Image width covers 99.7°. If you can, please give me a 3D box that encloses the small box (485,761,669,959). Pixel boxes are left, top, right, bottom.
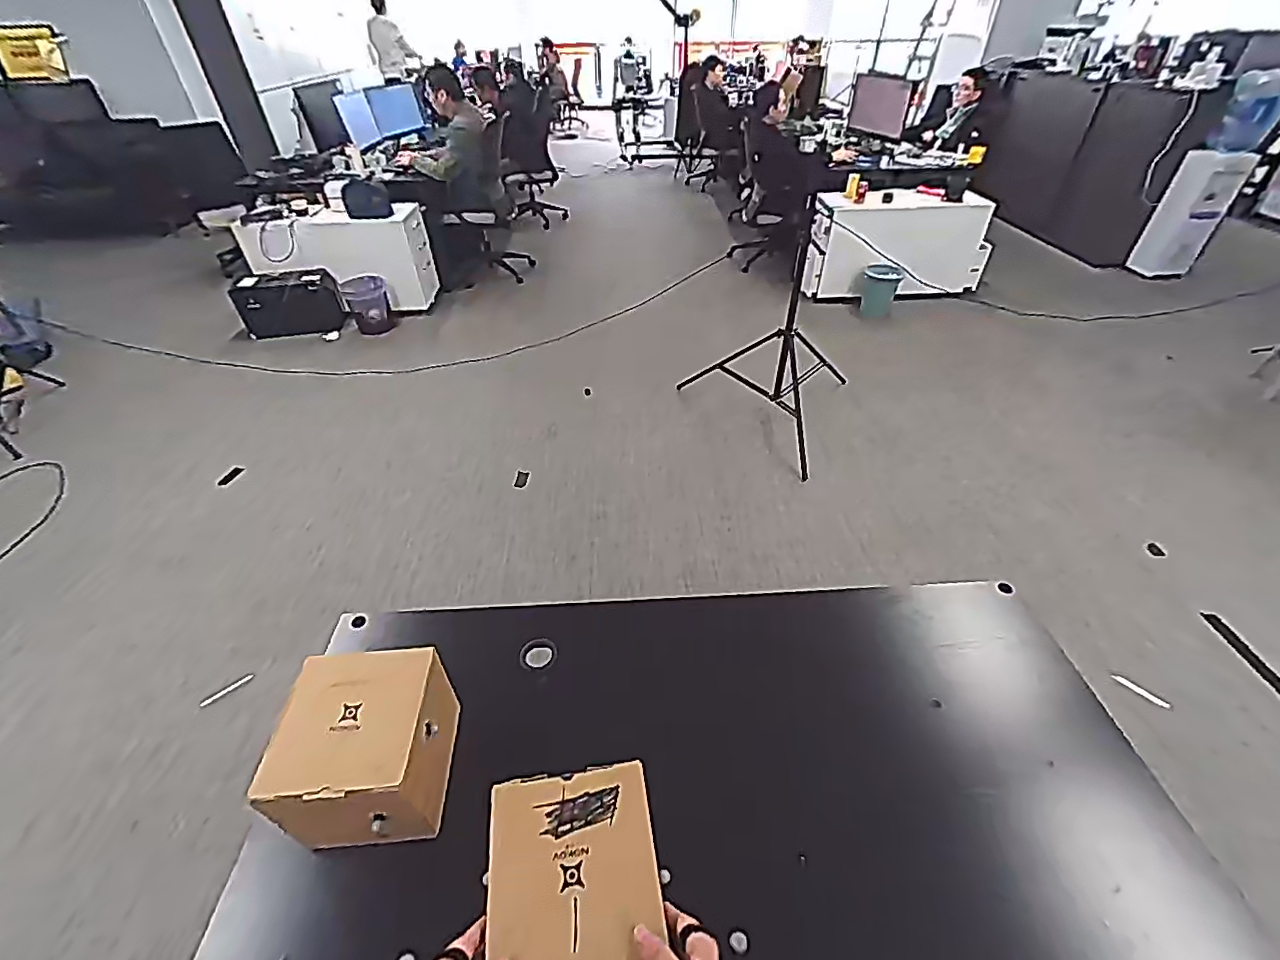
[{"bbox_3d":[-0.067,0.440,0.588,0.168,0.176,0.179,-7,41,-6],"label":"small box"}]

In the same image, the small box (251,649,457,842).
[{"bbox_3d":[-0.348,0.347,0.703,0.168,0.176,0.179,-3,40,-5],"label":"small box"}]
